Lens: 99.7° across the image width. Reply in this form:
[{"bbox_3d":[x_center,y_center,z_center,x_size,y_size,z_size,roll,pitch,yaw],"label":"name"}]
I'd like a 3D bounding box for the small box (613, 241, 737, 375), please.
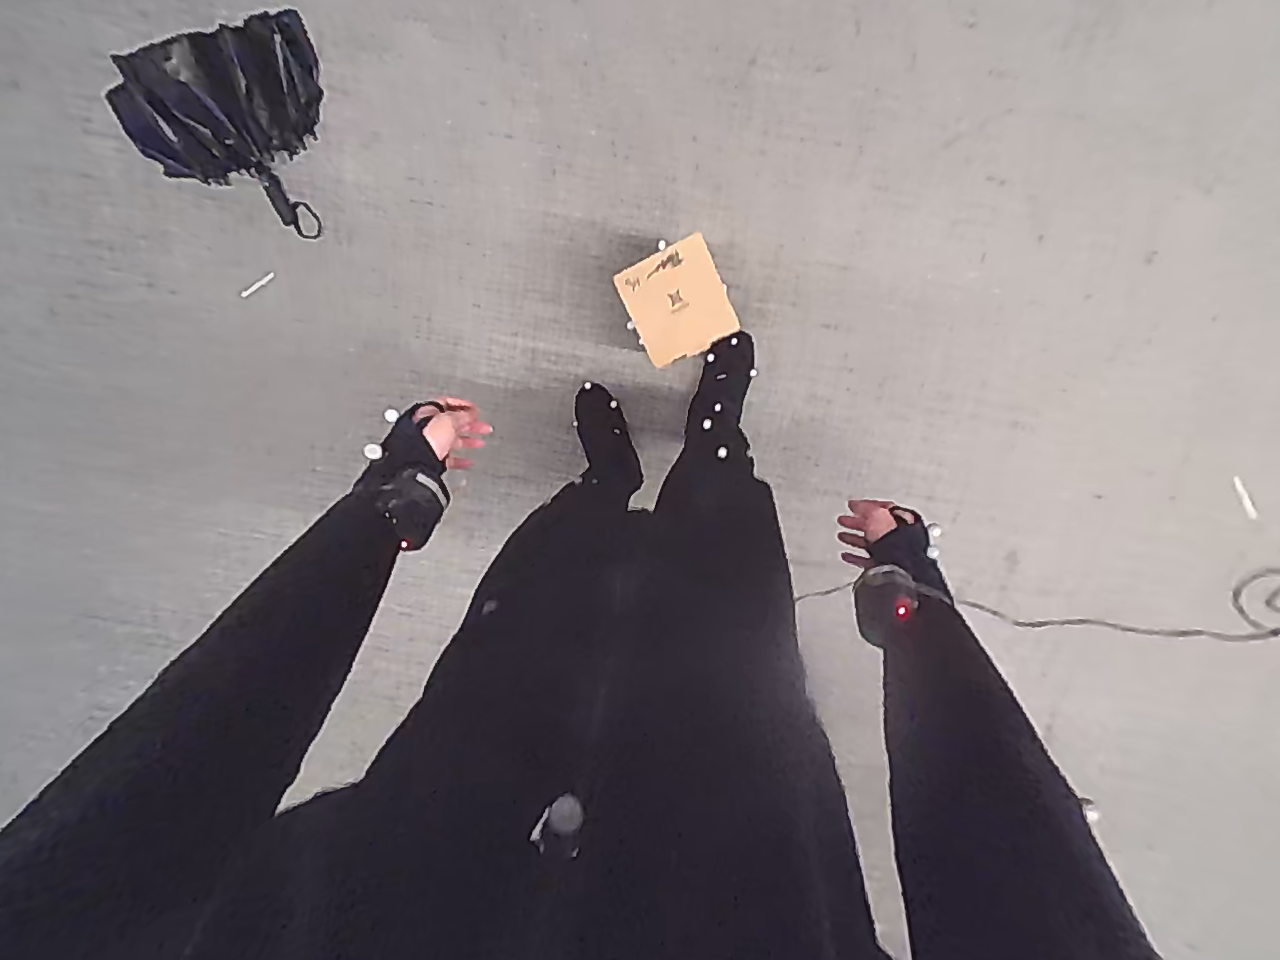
[{"bbox_3d":[0.062,-0.318,1.005,0.168,0.176,0.179,-25,107,8],"label":"small box"}]
